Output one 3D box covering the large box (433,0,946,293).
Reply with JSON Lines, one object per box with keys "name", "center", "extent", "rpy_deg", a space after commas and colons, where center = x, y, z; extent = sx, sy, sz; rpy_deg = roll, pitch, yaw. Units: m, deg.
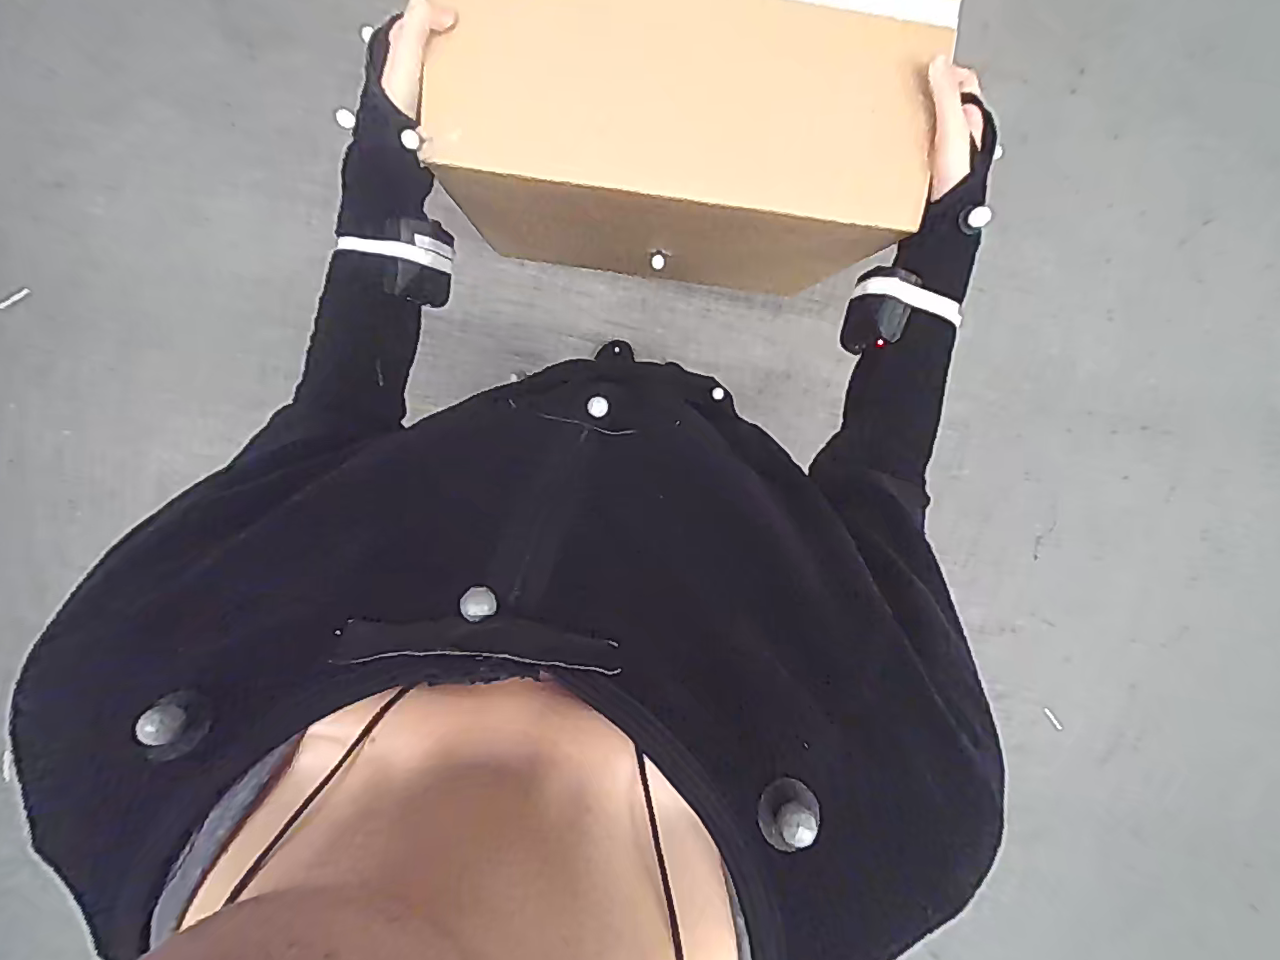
{"name": "large box", "center": [0.039, -0.397, 0.571], "extent": [0.408, 0.320, 0.320], "rpy_deg": [6, 98, -4]}
